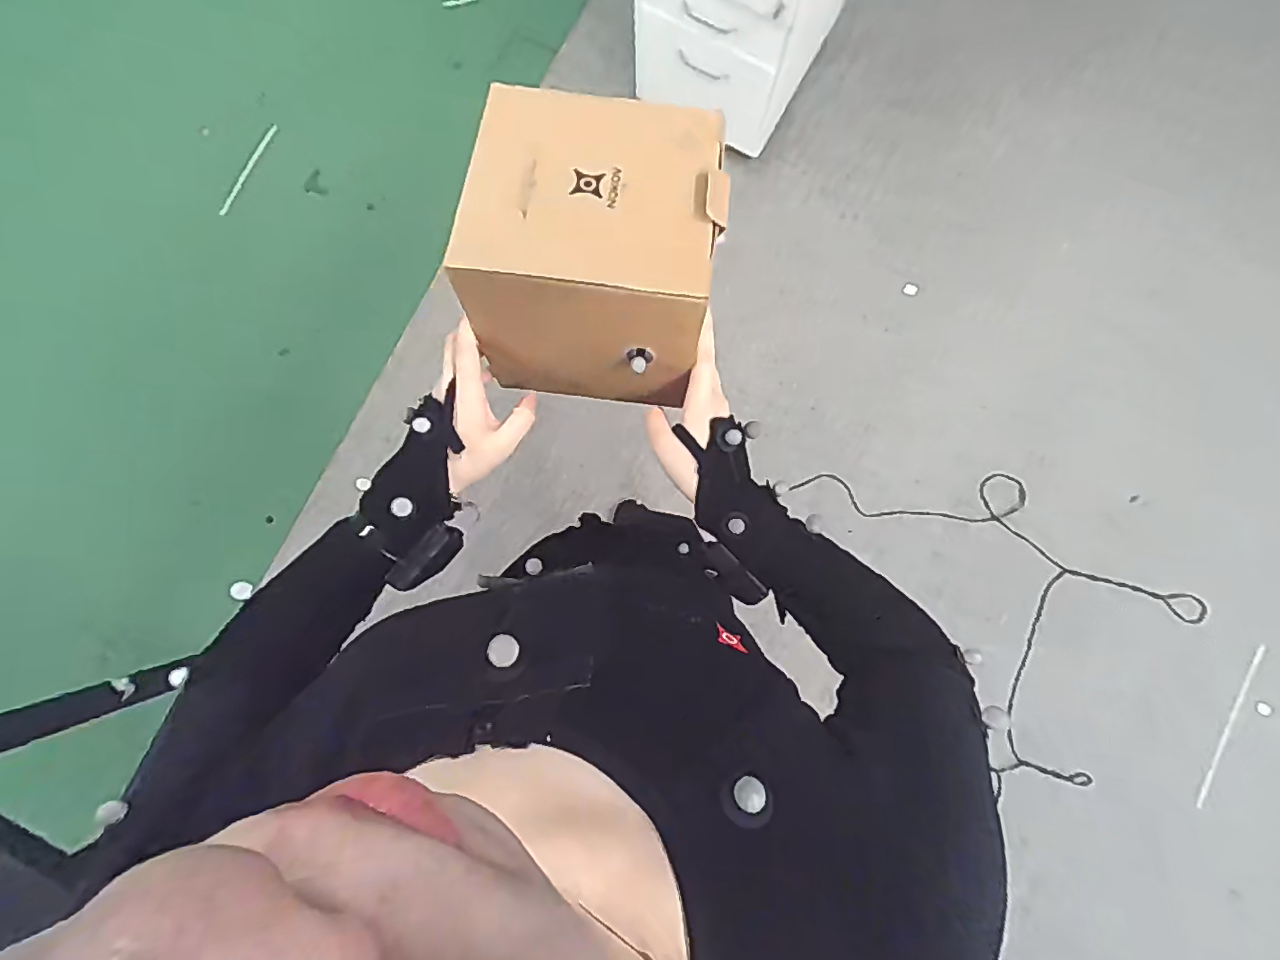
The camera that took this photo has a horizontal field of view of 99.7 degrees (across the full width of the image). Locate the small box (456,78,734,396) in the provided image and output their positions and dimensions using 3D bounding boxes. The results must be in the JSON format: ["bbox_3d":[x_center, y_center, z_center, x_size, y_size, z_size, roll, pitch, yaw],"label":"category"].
[{"bbox_3d":[-0.028,-0.184,0.451,0.179,0.176,0.168,6,71,0],"label":"small box"}]
